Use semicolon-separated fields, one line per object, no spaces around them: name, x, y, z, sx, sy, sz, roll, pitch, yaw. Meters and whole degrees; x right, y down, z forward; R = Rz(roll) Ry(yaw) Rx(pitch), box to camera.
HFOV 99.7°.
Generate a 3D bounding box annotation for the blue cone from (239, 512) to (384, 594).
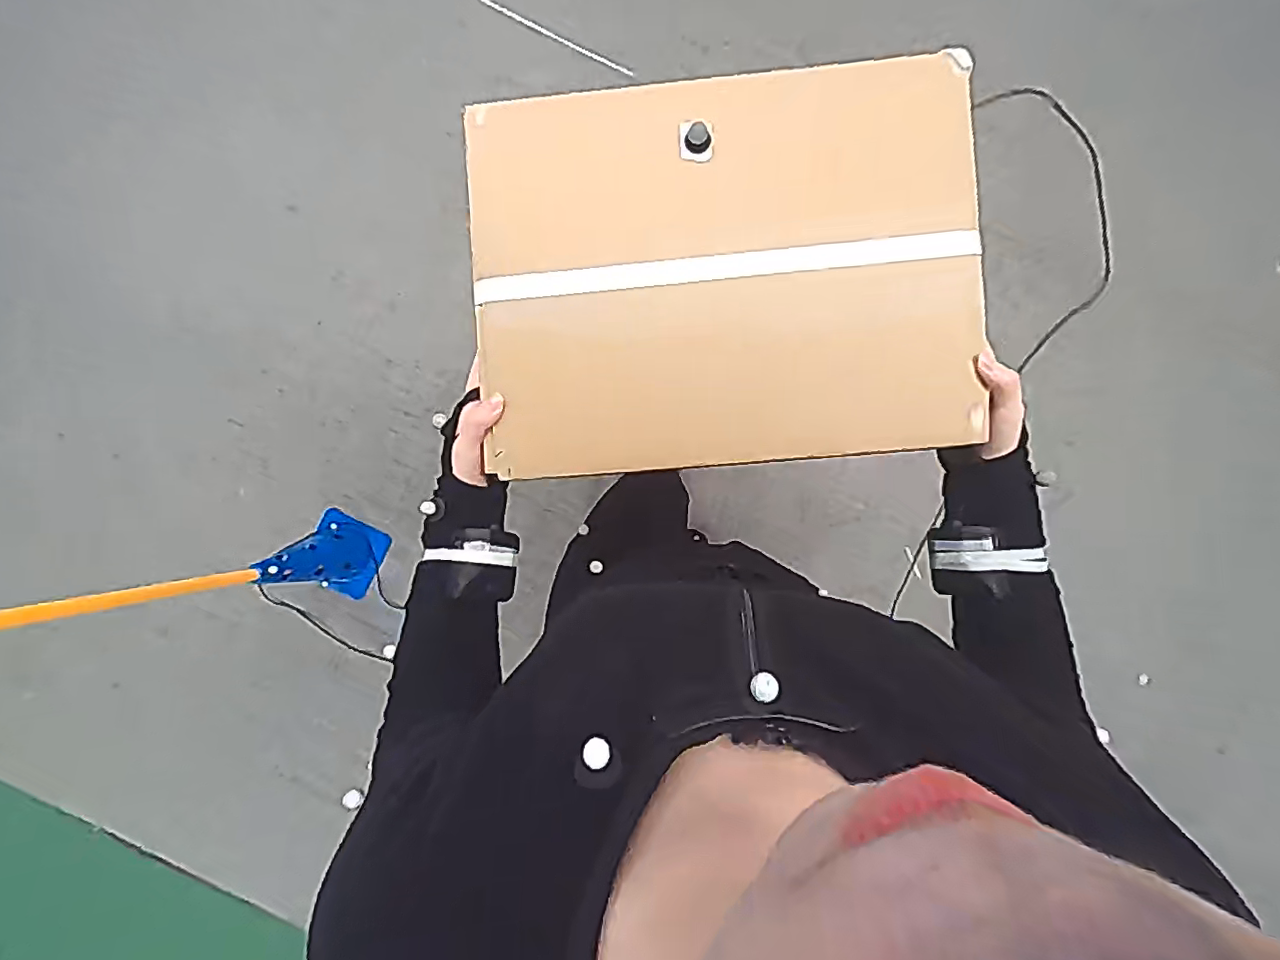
blue cone;-0.805;0.196;1.292;0.193;0.380;0.192;25;89;1
